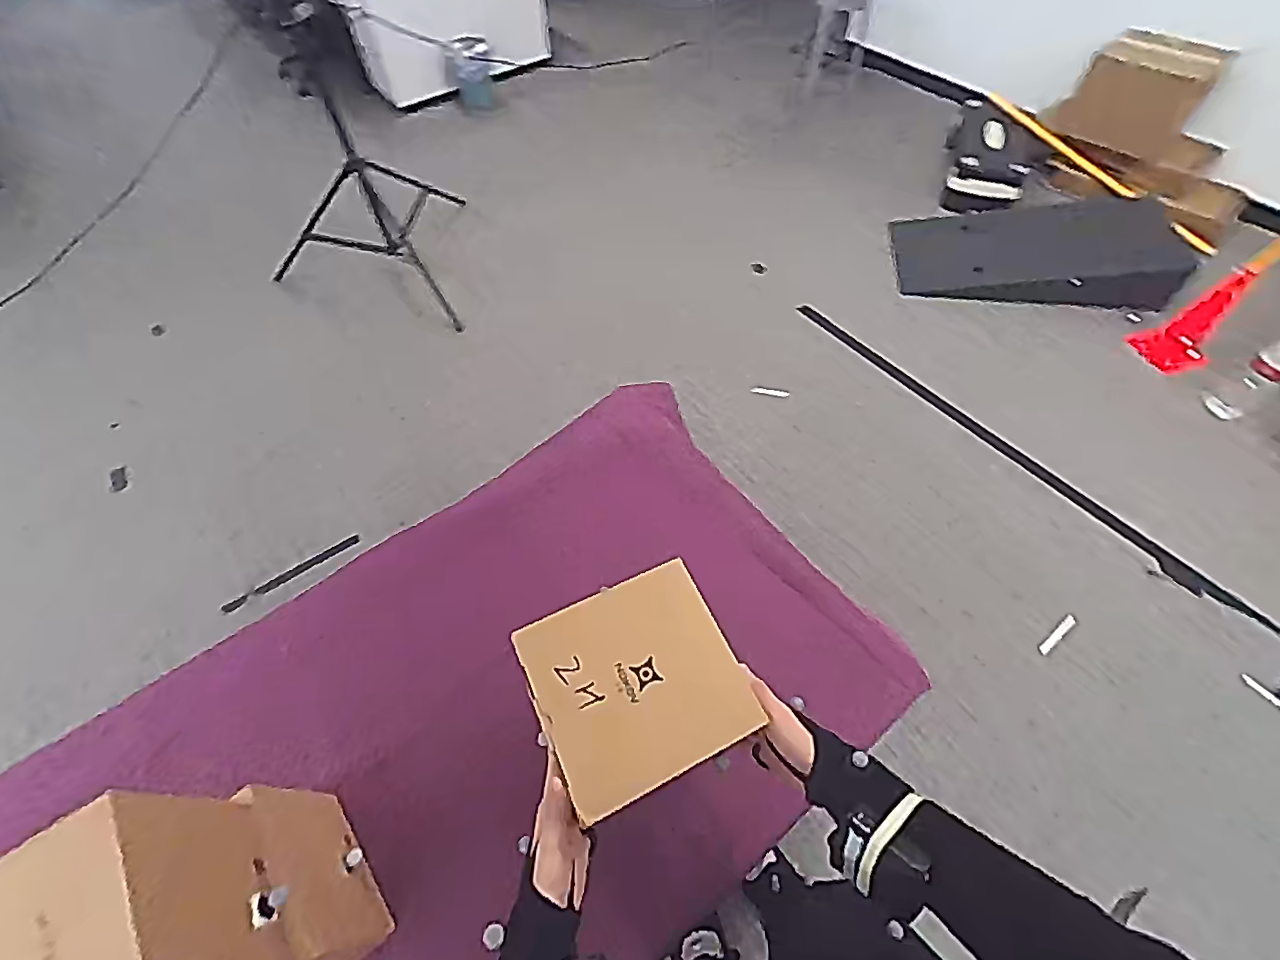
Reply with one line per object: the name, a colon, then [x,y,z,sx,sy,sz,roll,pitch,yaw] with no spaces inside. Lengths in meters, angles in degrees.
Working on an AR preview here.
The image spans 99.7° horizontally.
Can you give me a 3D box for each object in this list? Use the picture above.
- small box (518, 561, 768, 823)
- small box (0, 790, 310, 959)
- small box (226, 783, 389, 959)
small box: [-0.005,0.208,0.541,0.179,0.176,0.168,-21,65,-14]
small box: [-0.377,0.351,0.373,0.179,0.176,0.168,-33,64,-19]
small box: [-0.381,0.428,0.516,0.179,0.176,0.168,-36,63,-20]
